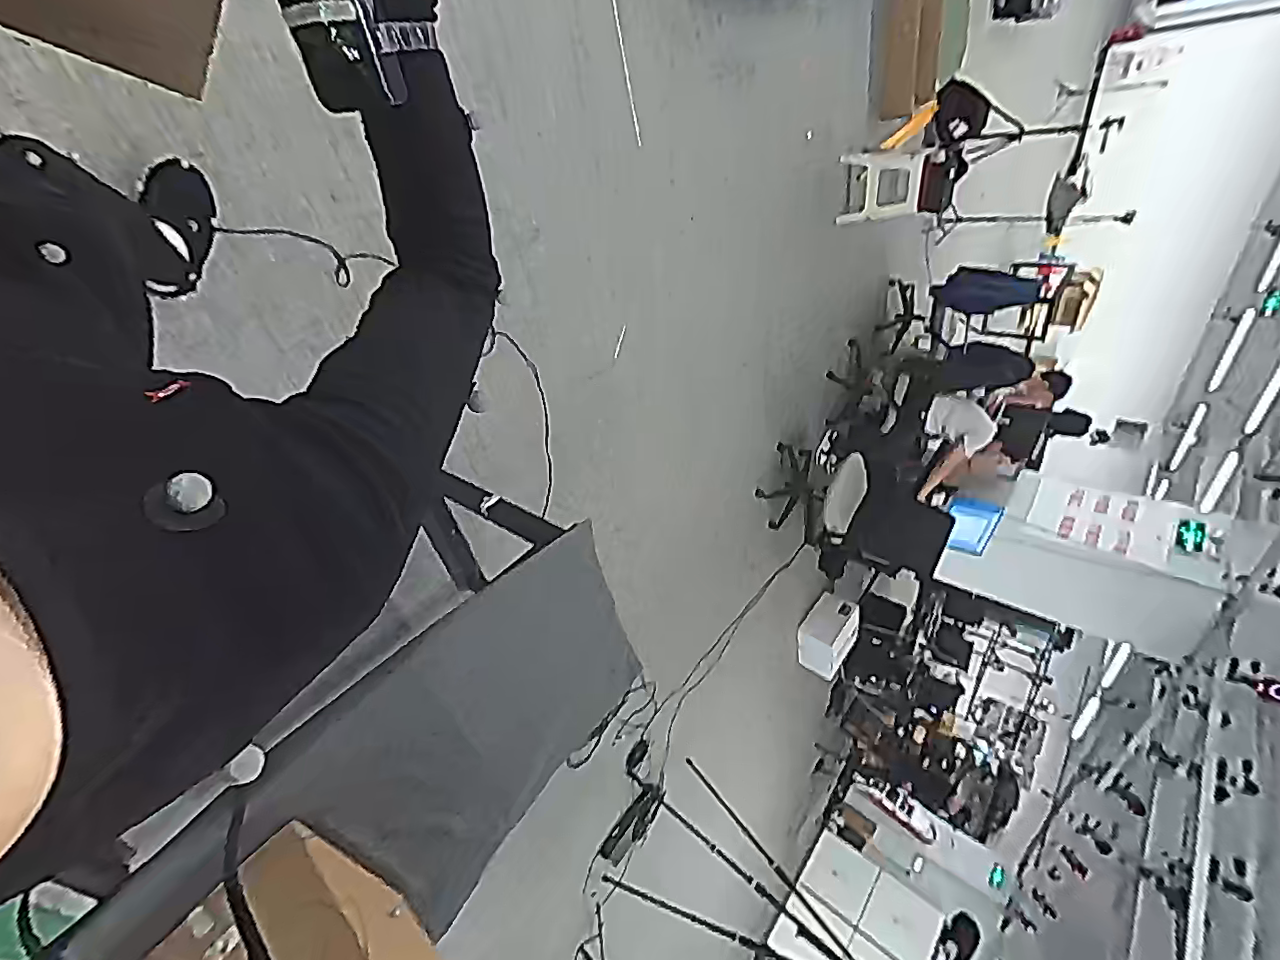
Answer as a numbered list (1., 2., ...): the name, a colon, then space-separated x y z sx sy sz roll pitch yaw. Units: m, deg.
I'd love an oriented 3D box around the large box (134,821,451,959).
1. large box: -0.515 0.819 0.829 0.320 0.320 0.408 -42 137 -32
